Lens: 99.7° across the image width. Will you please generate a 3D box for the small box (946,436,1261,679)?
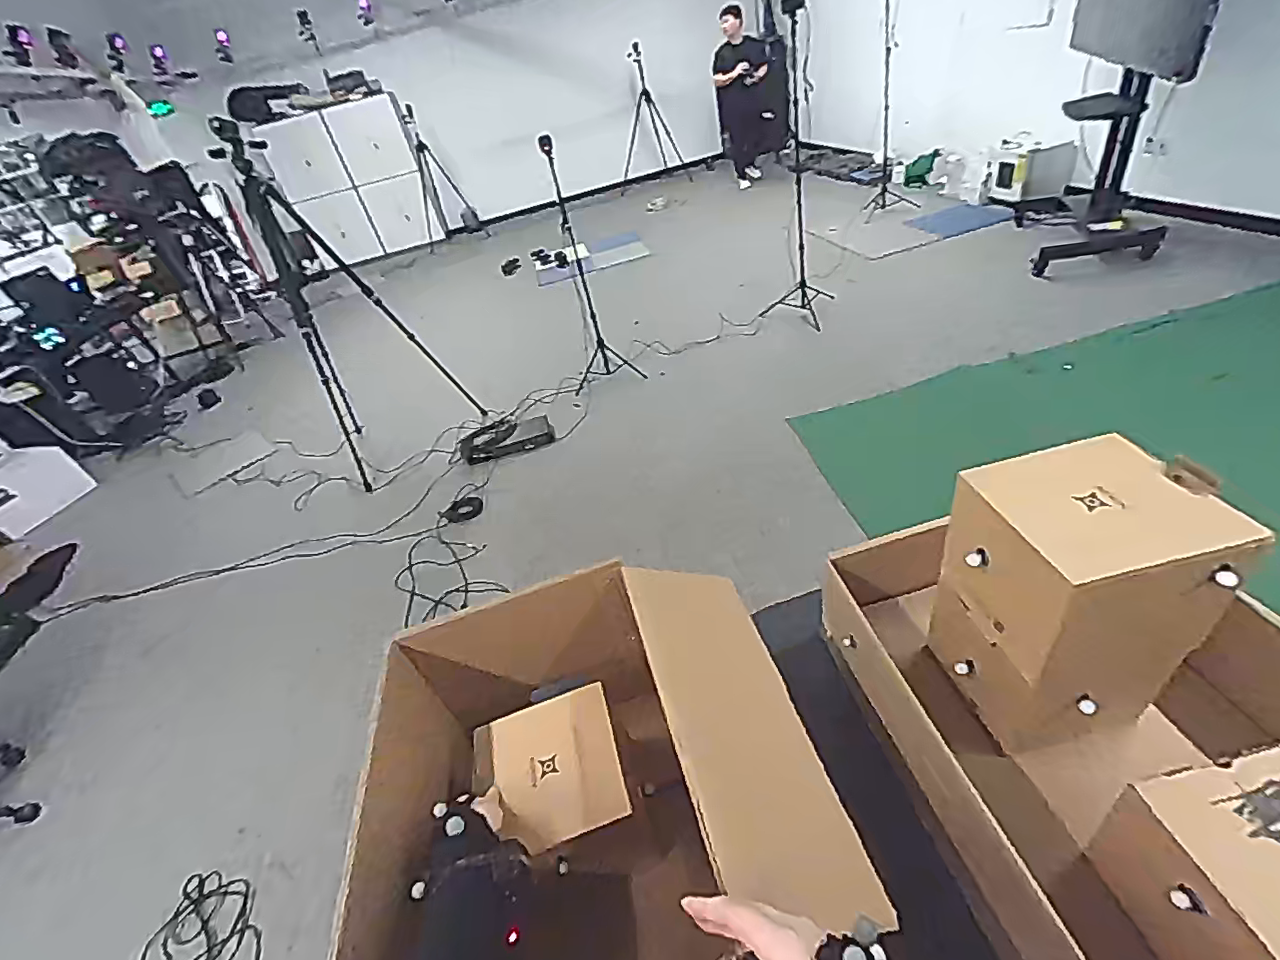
[{"bbox_3d":[0.451,0.084,0.570,0.179,0.176,0.168,-14,39,1],"label":"small box"}]
